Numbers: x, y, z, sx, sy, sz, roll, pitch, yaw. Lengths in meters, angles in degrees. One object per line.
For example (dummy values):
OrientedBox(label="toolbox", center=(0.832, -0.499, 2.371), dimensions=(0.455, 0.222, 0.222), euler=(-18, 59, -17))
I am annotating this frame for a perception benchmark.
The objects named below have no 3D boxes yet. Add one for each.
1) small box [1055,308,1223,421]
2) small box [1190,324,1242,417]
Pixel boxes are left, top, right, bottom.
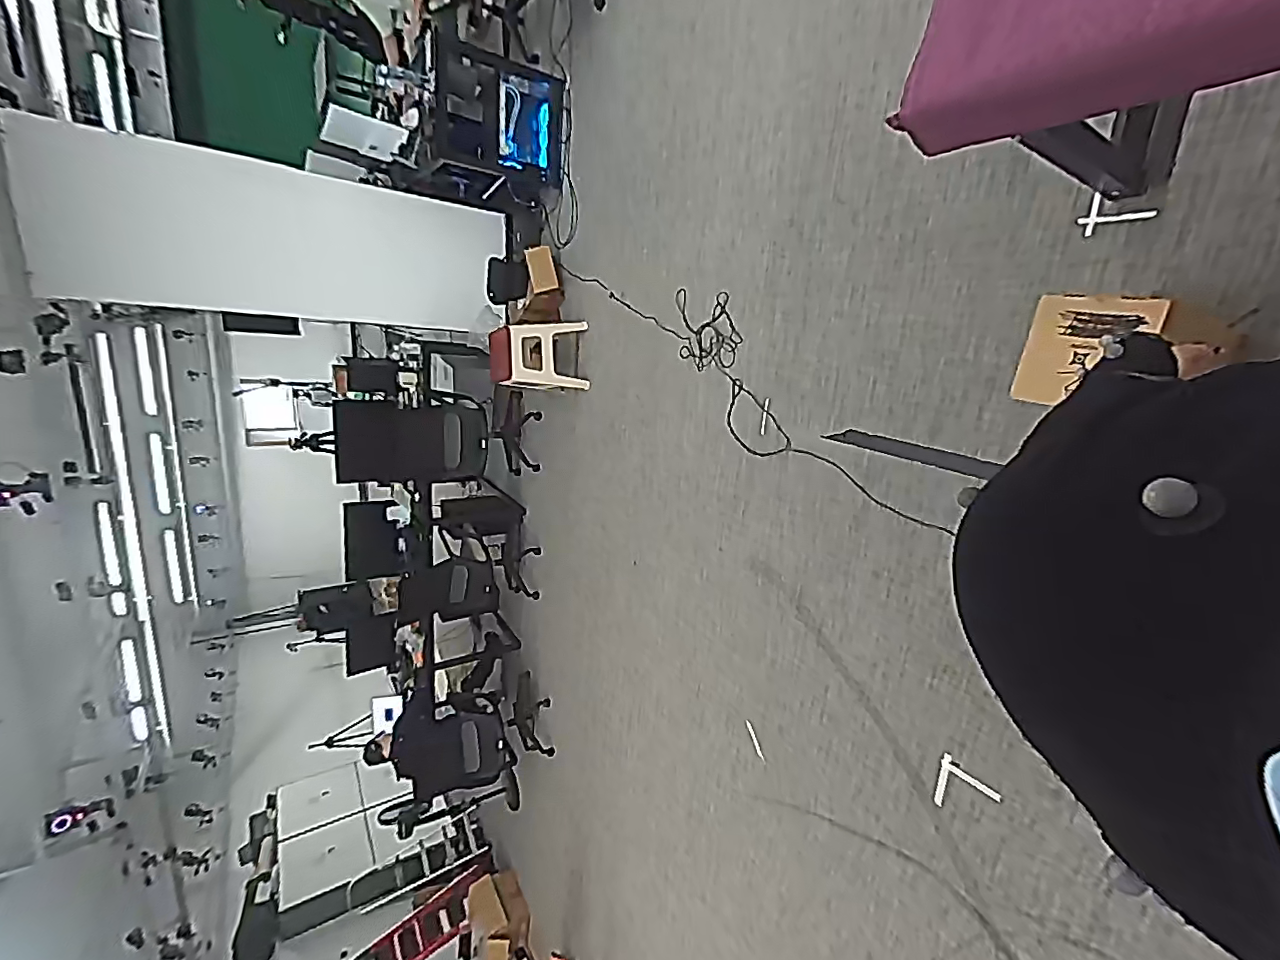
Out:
OrientedBox(label="small box", center=(0.898, -0.208, 0.974), dimensions=(0.168, 0.176, 0.179), euler=(27, 116, 52))
OrientedBox(label="small box", center=(1.030, -0.226, 1.070), dimensions=(0.168, 0.176, 0.179), euler=(33, 121, 49))
